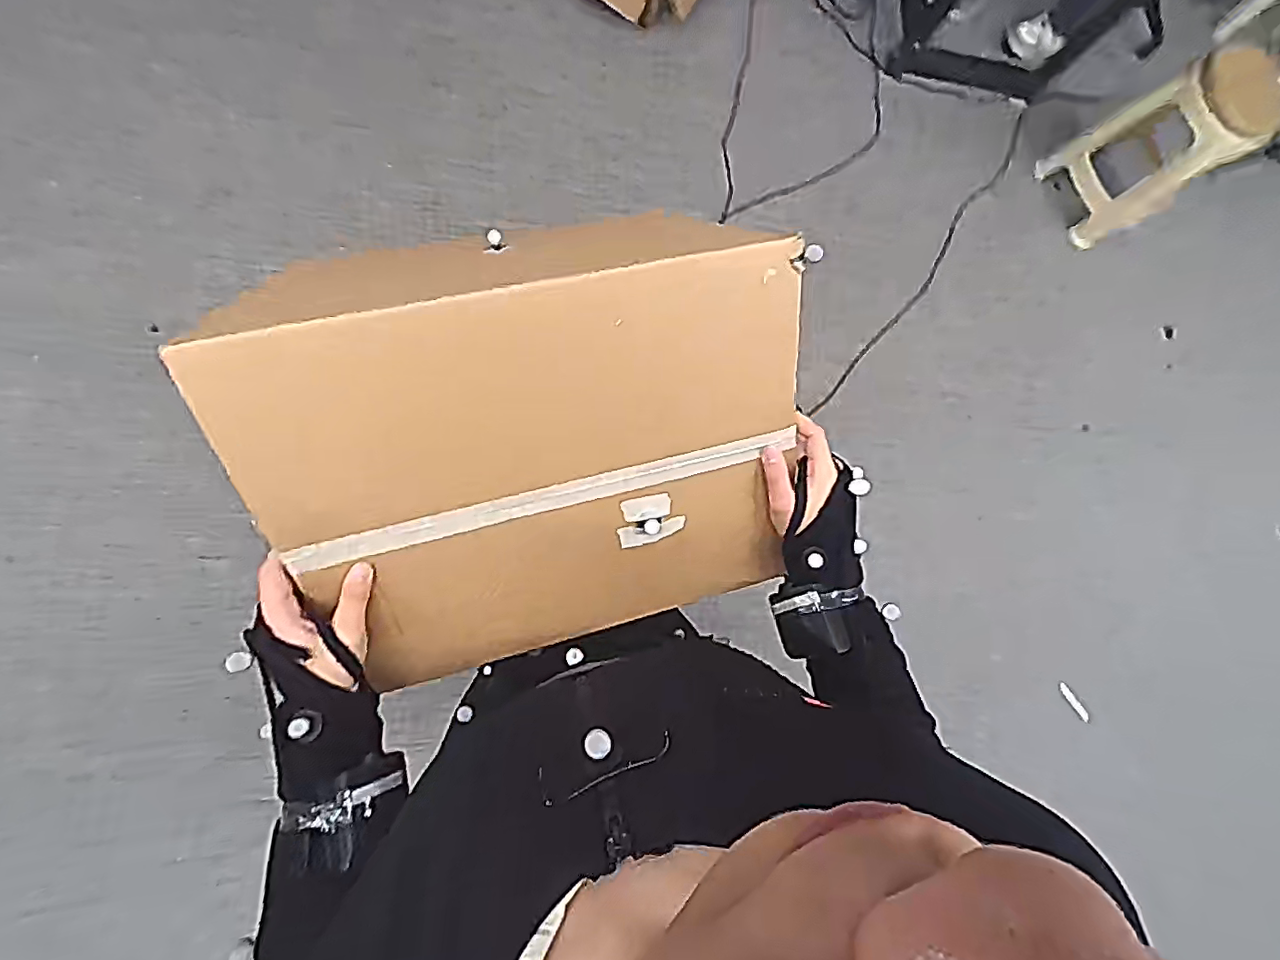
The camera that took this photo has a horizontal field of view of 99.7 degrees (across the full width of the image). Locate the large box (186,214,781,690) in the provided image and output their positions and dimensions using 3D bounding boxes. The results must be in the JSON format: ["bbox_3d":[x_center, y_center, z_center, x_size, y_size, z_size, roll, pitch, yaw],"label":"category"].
[{"bbox_3d":[-0.113,-0.065,0.558,0.408,0.320,0.320,-16,124,-11],"label":"large box"}]
